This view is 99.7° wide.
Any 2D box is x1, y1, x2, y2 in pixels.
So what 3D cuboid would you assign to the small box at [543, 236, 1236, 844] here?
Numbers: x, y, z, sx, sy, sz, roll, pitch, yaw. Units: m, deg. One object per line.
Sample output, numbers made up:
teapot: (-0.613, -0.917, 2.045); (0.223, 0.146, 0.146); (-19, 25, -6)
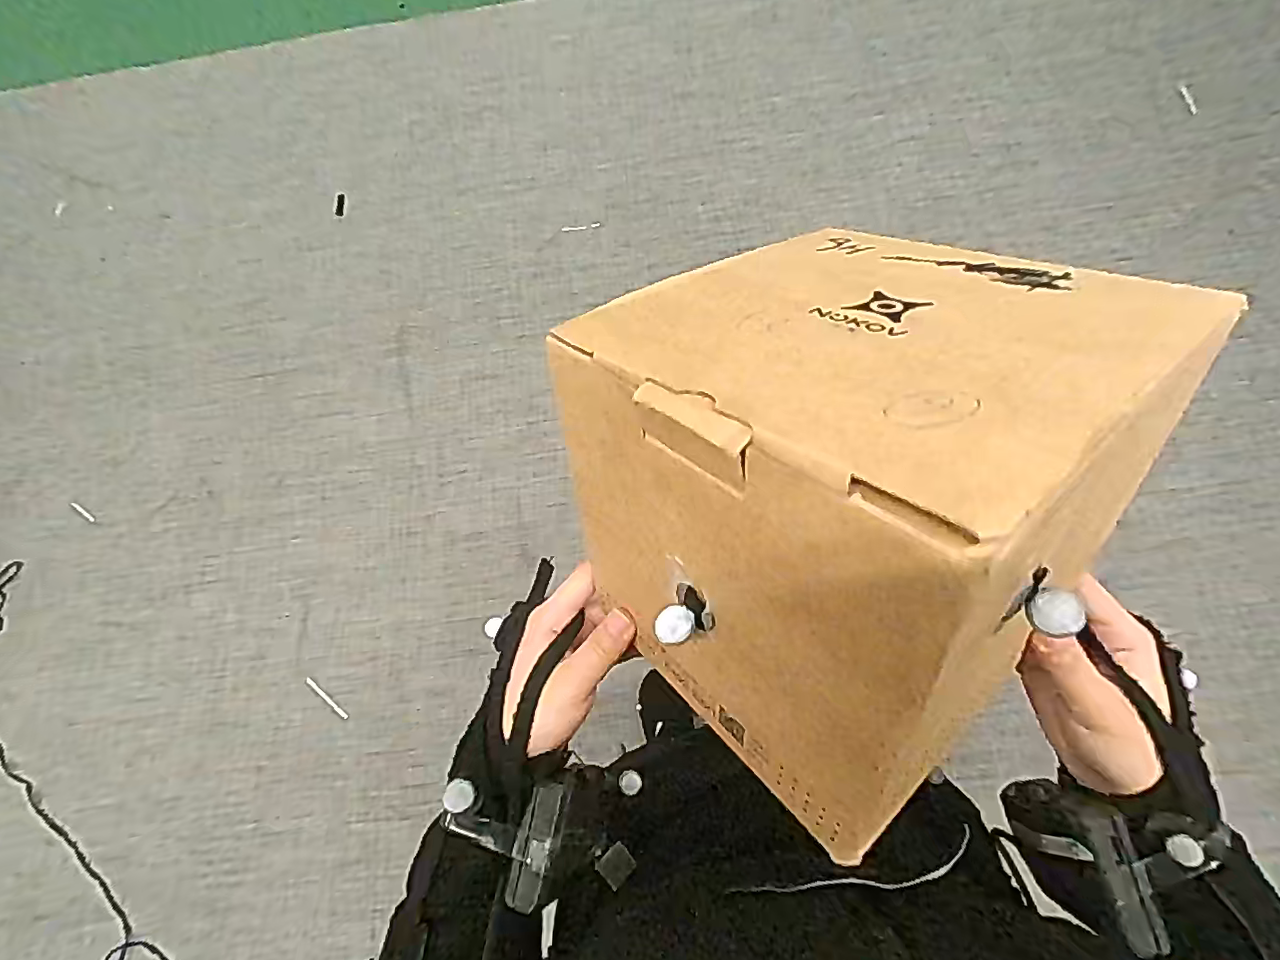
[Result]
small box: (0.086, 0.010, 0.240); (0.179, 0.176, 0.168); (-29, 43, -26)
